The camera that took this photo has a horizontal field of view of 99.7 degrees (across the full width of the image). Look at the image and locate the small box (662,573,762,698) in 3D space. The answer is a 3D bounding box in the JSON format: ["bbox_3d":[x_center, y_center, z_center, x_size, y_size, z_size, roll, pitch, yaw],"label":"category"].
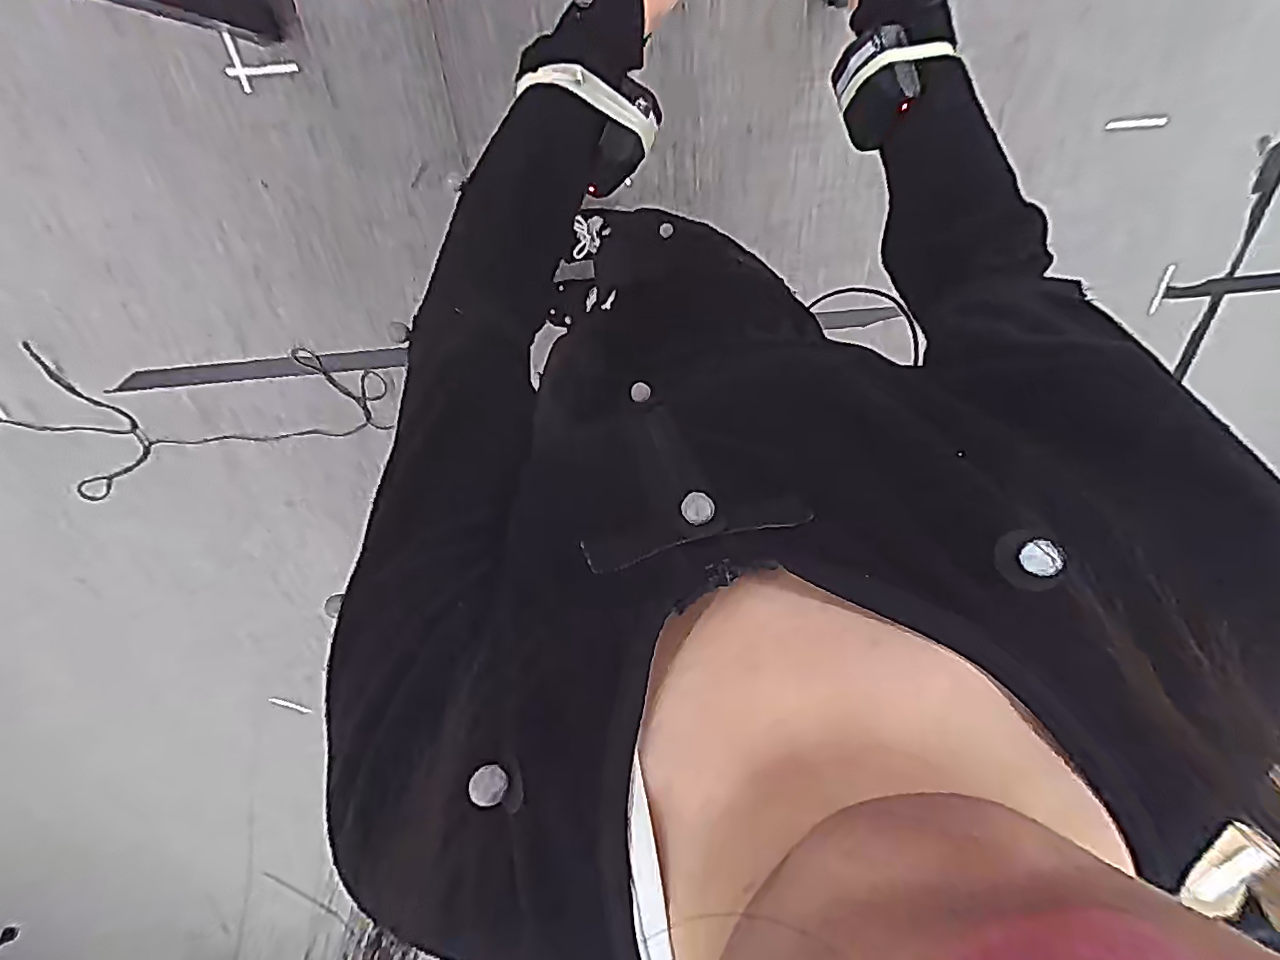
[{"bbox_3d":[0.139,0.315,1.101,0.168,0.176,0.179,-6,124,-4],"label":"small box"}]
